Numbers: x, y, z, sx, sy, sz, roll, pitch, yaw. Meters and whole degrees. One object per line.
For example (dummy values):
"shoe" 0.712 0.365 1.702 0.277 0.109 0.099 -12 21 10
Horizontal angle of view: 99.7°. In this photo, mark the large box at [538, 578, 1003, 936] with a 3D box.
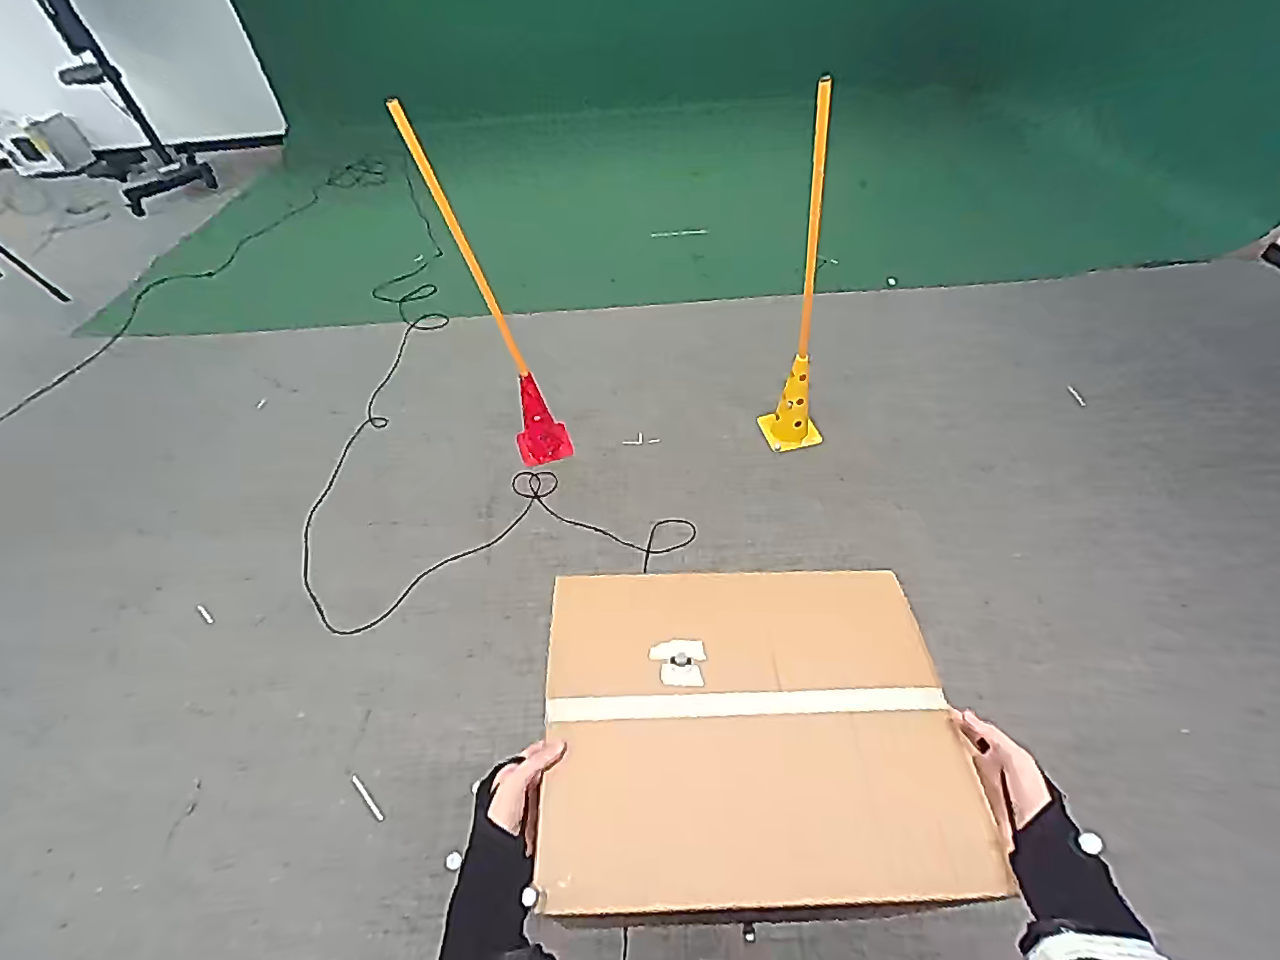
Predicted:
"large box" 0.107 0.339 0.659 0.408 0.320 0.320 -2 47 -2
